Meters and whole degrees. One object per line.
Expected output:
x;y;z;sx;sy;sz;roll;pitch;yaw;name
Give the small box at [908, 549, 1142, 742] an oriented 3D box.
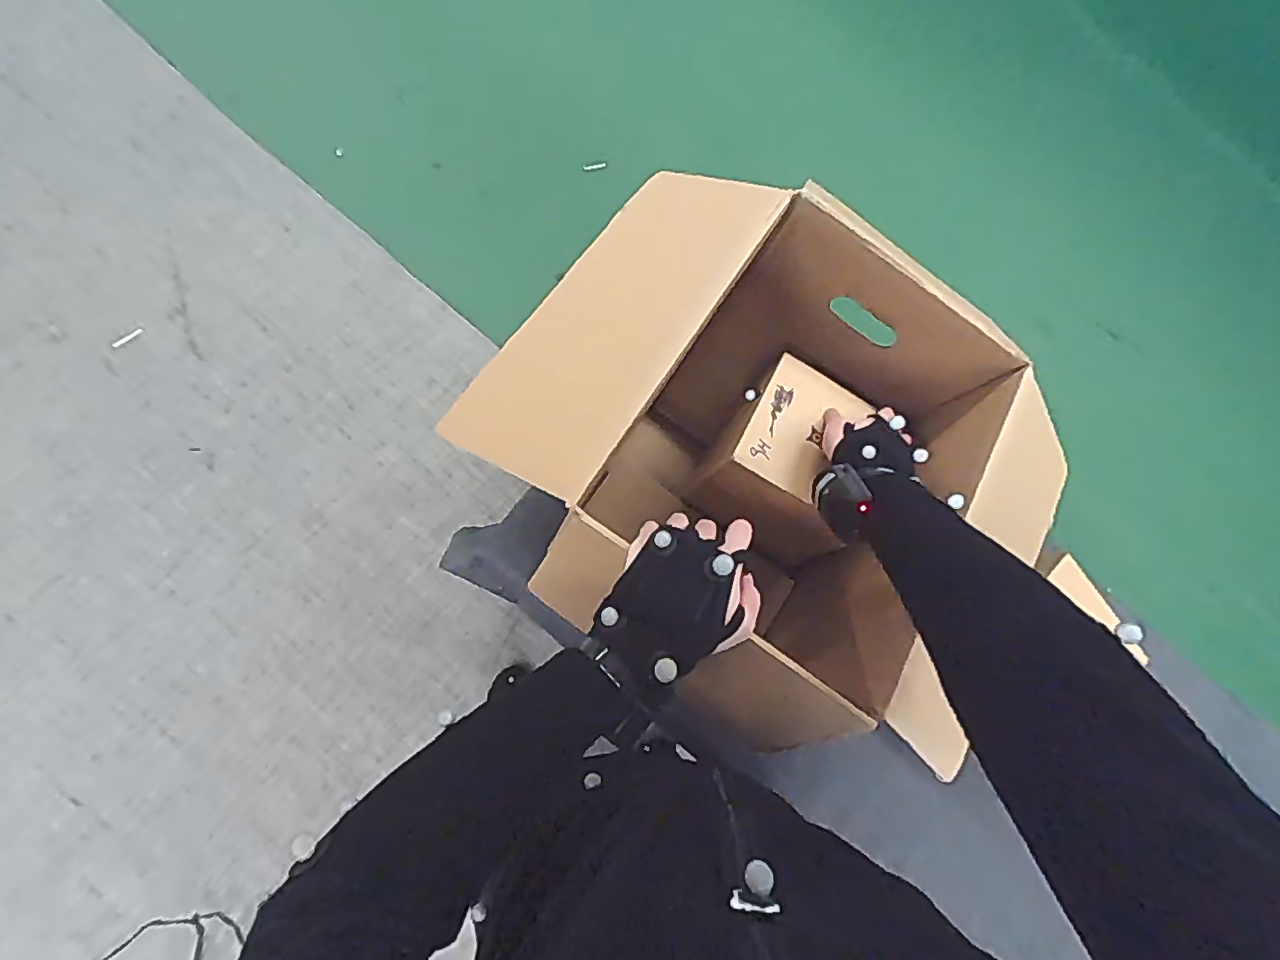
0.505;0.217;0.739;0.179;0.176;0.168;-33;87;-19;small box
